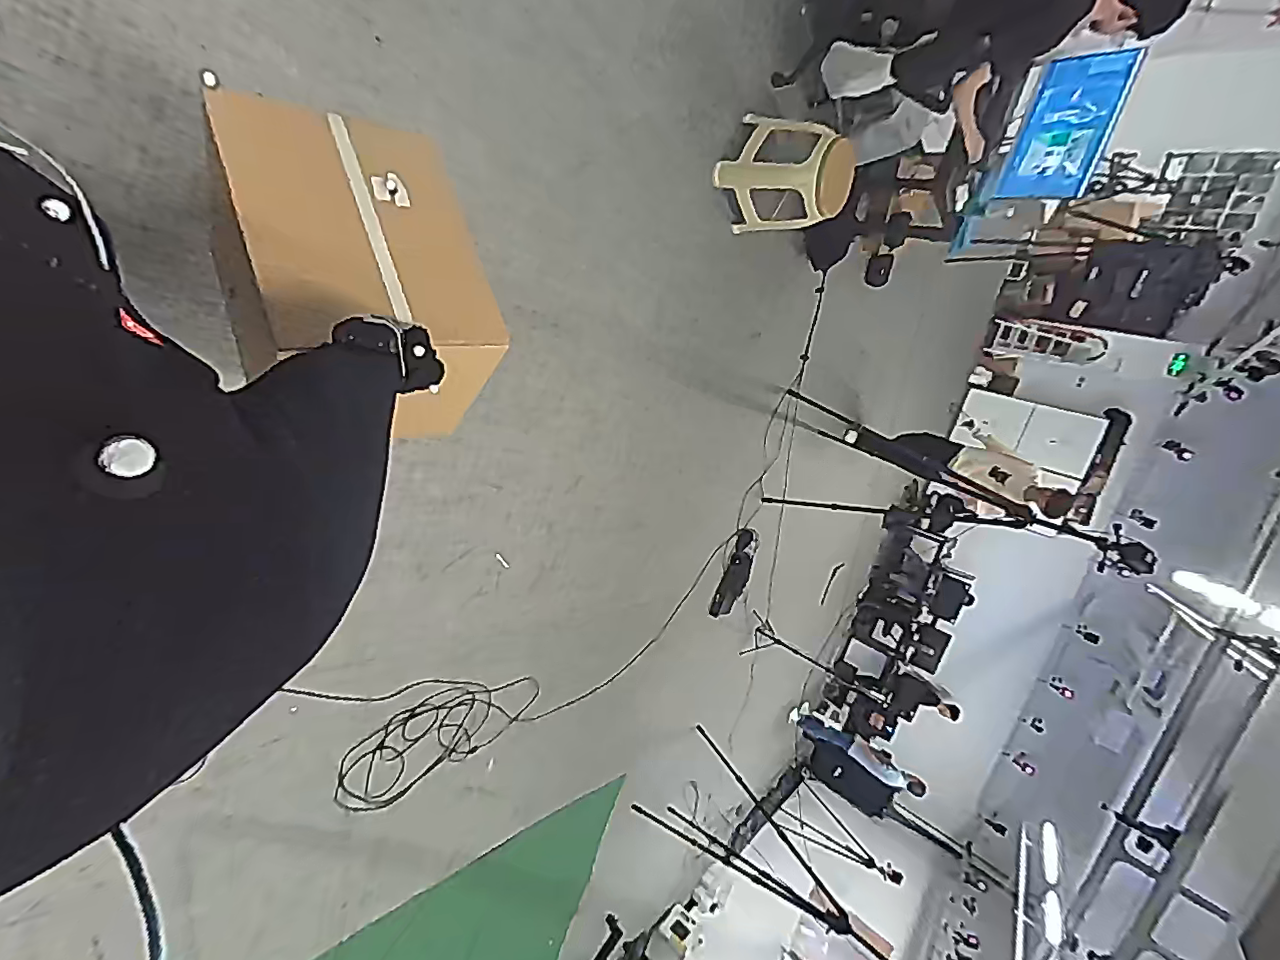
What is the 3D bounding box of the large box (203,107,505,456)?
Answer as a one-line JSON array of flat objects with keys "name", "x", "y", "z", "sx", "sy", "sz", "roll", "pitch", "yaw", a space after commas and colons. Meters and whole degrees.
[{"name": "large box", "x": -0.480, "y": -0.301, "z": 0.903, "sx": 0.320, "sy": 0.320, "sz": 0.408, "roll": -14, "pitch": 76, "yaw": -40}]
